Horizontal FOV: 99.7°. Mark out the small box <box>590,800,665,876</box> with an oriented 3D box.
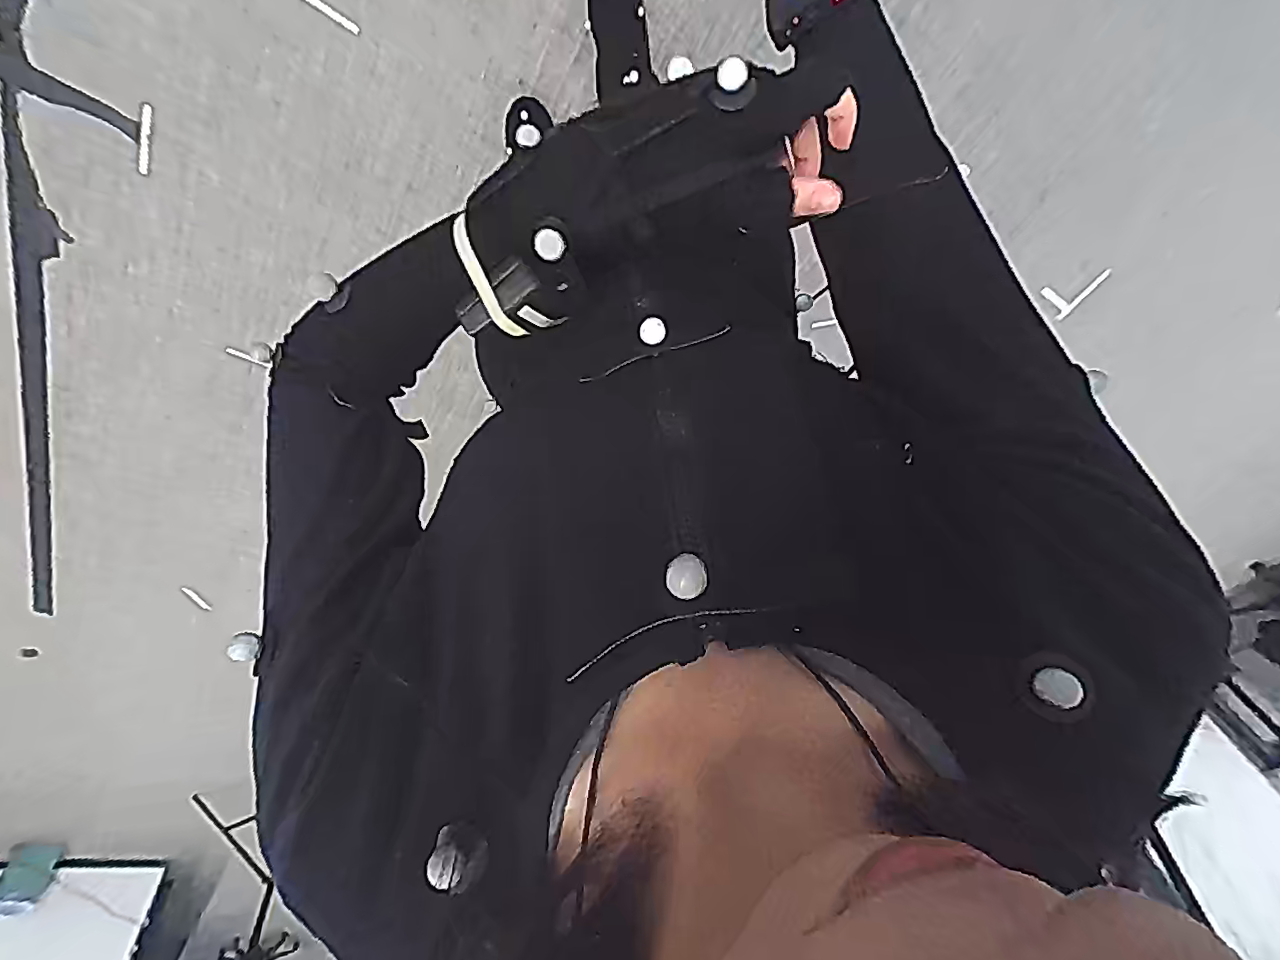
[{"bbox_3d":[-0.047,1.161,1.756,0.179,0.176,0.168,23,125,-30],"label":"small box"}]
